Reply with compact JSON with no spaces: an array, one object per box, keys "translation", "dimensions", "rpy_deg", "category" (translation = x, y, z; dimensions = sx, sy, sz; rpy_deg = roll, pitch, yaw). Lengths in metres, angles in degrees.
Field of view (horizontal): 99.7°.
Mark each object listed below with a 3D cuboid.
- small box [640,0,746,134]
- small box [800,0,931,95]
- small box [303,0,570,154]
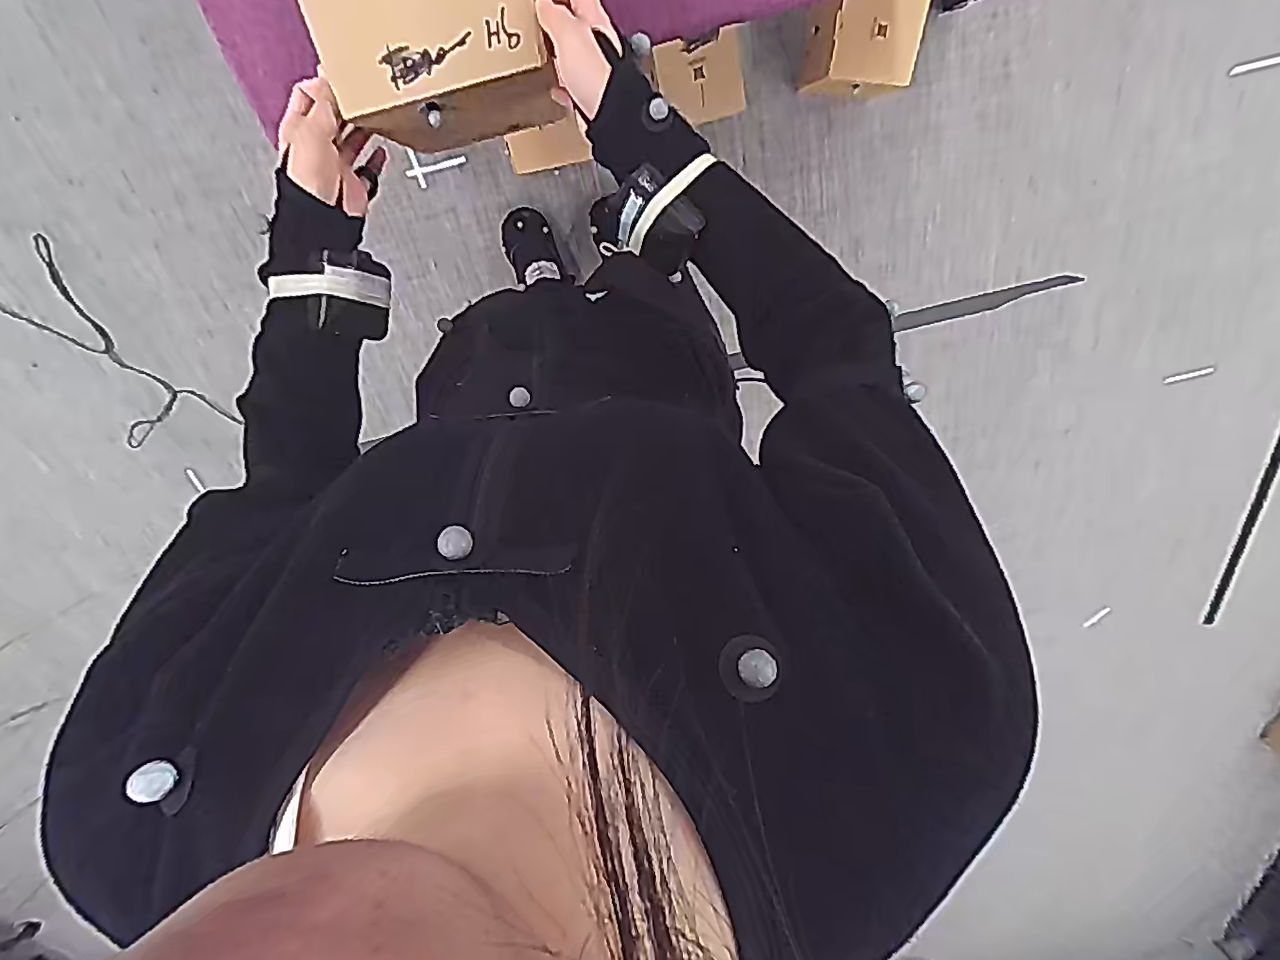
[{"translation":[0.103,-0.826,1.097],"dimensions":[0.168,0.176,0.179],"rpy_deg":[-15,120,1],"category":"small box"},{"translation":[0.452,-0.902,1.103],"dimensions":[0.179,0.176,0.168],"rpy_deg":[1,119,-7],"category":"small box"},{"translation":[-0.162,-0.398,0.444],"dimensions":[0.168,0.176,0.179],"rpy_deg":[-12,111,4],"category":"small box"}]
